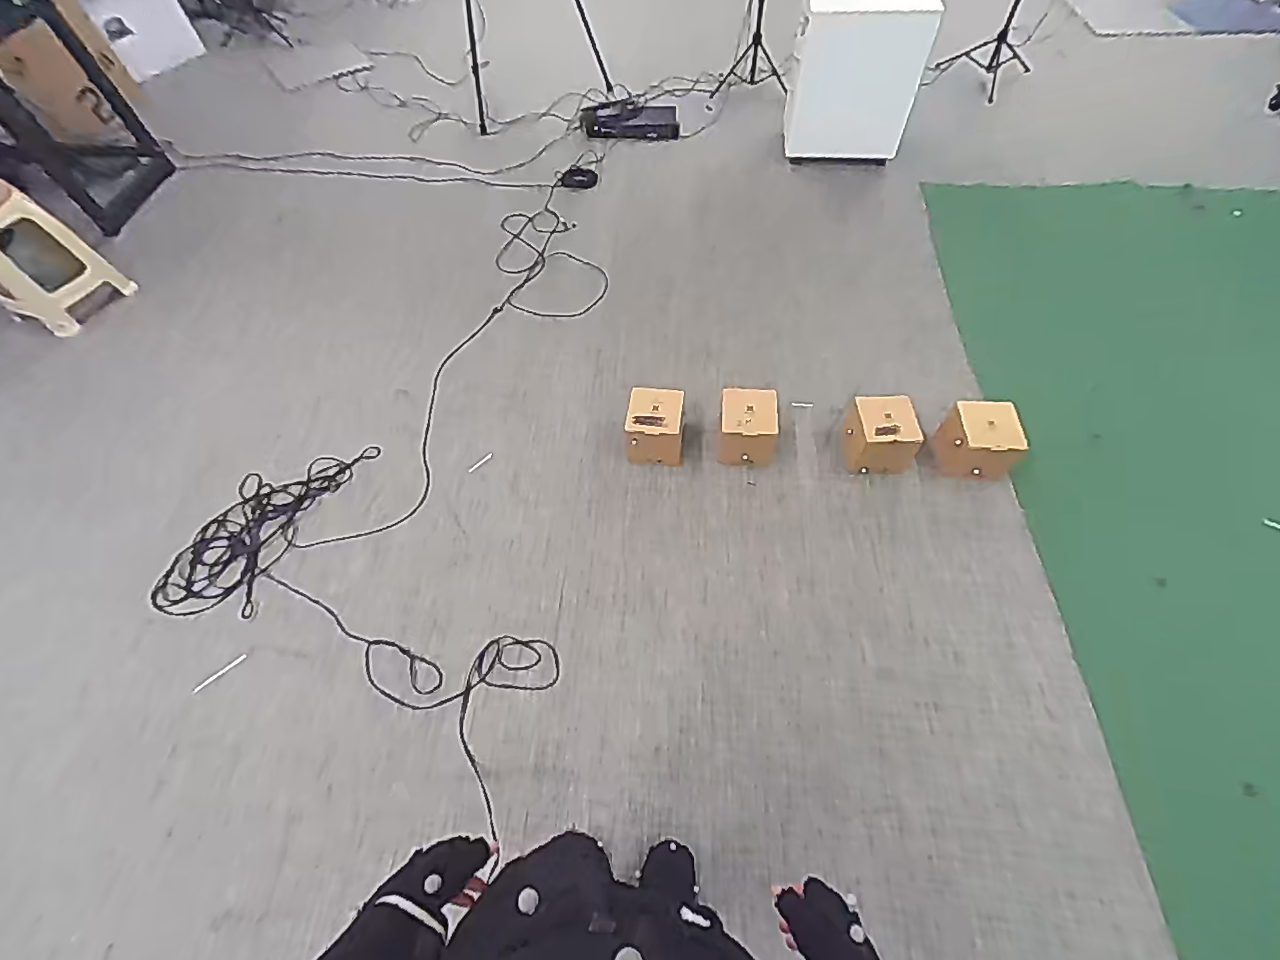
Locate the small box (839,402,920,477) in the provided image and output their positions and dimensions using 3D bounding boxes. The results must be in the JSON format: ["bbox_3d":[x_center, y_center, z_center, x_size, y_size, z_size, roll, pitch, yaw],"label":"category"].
[{"bbox_3d":[0.734,-0.122,1.675,0.168,0.176,0.179,0,56,1],"label":"small box"}]

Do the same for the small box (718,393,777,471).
[{"bbox_3d":[0.334,-0.151,1.705,0.168,0.176,0.179,3,58,5],"label":"small box"}]

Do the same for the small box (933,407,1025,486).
[{"bbox_3d":[1.025,-0.101,1.654,0.168,0.176,0.179,2,57,4],"label":"small box"}]
